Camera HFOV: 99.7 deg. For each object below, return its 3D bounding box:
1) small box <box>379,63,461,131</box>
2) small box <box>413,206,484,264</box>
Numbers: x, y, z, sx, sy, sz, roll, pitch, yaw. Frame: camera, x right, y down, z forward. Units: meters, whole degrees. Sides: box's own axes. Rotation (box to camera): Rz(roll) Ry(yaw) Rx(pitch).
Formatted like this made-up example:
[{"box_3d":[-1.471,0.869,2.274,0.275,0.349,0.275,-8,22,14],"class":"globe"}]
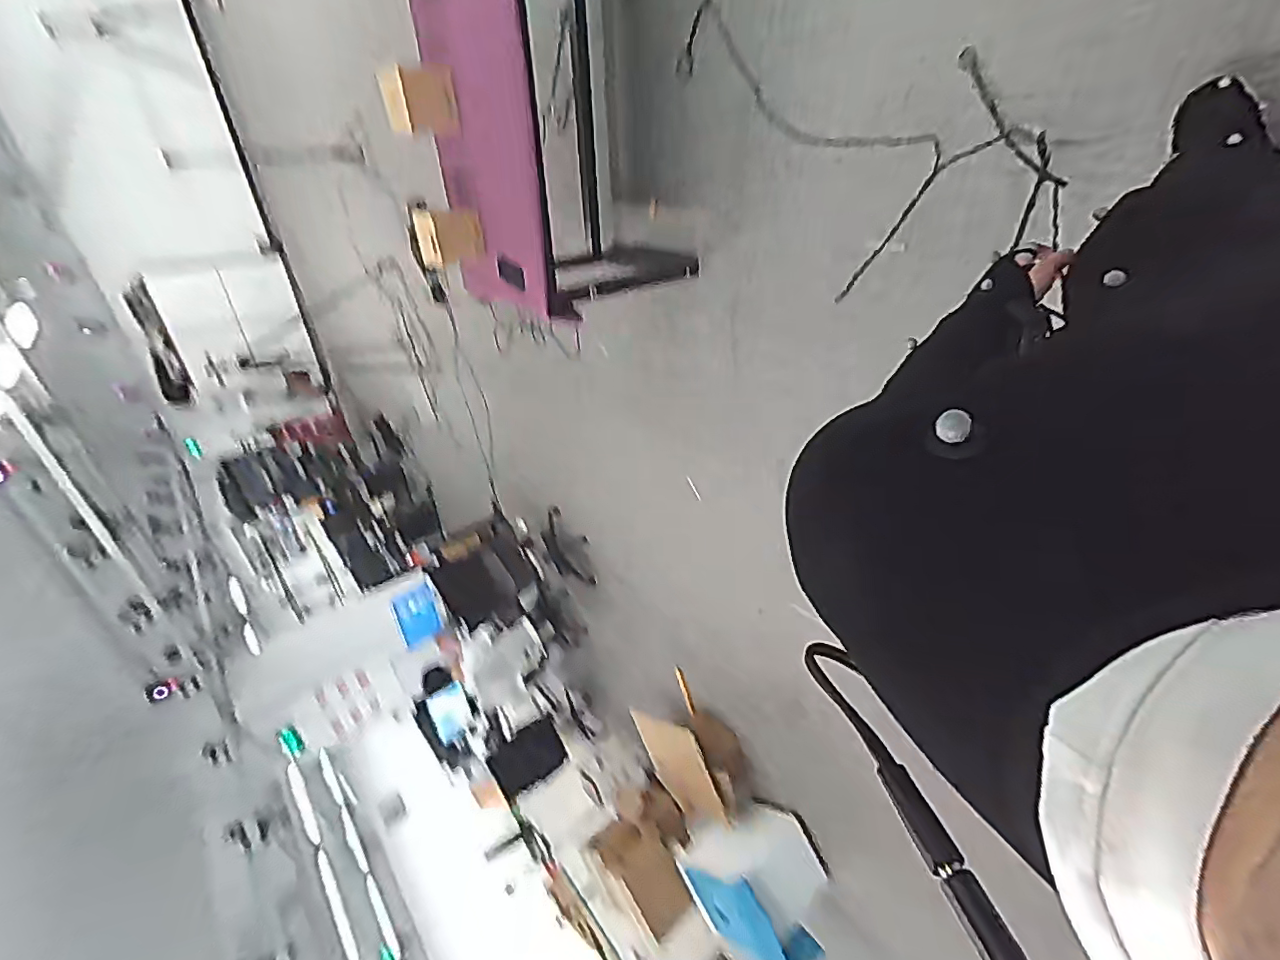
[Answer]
[{"box_3d":[-0.688,-1.200,1.703,0.179,0.176,0.168,30,135,41],"class":"small box"},{"box_3d":[-0.661,-0.860,1.889,0.179,0.176,0.168,28,132,44],"class":"small box"}]
